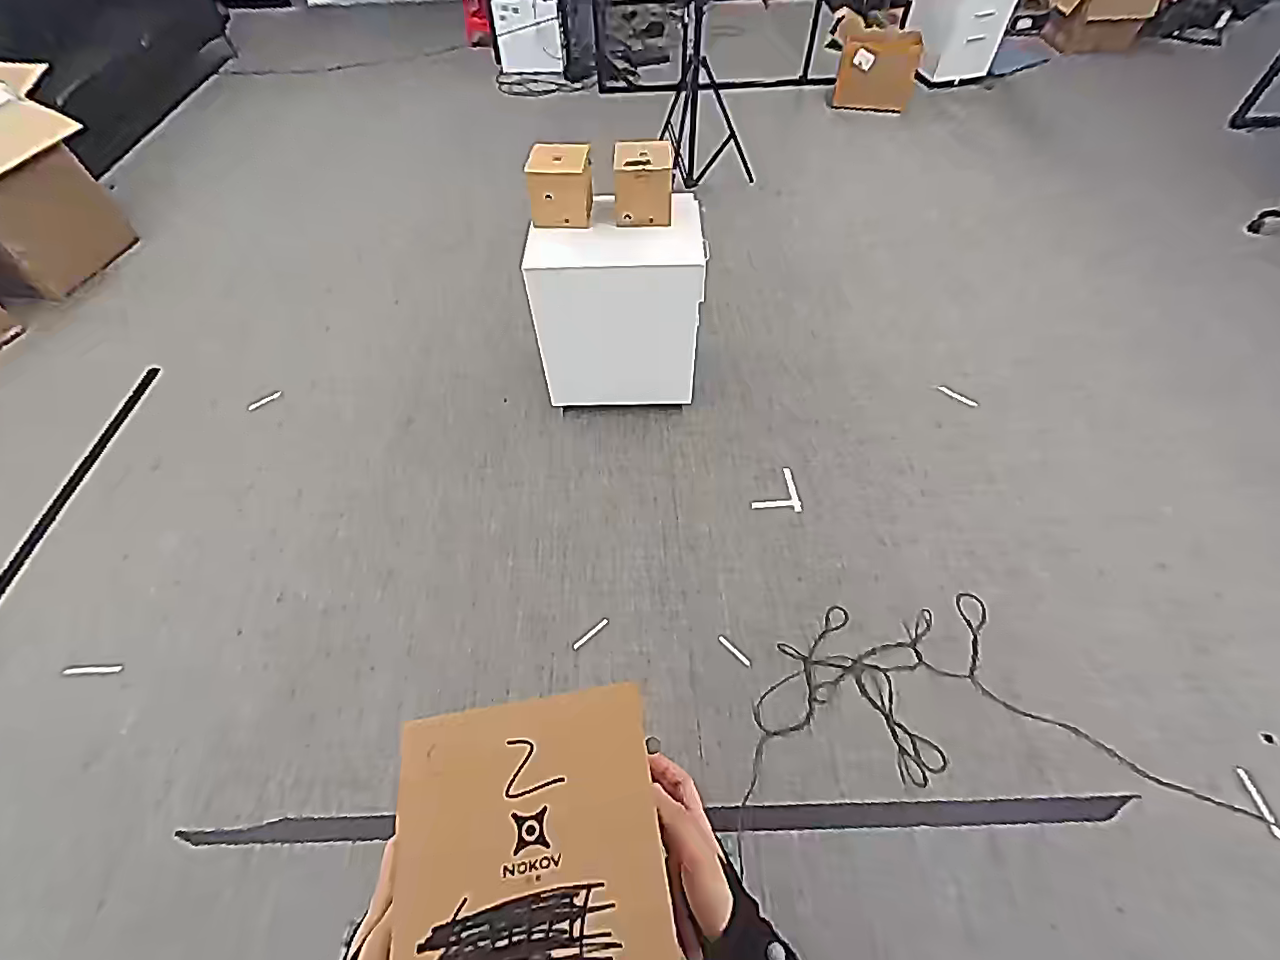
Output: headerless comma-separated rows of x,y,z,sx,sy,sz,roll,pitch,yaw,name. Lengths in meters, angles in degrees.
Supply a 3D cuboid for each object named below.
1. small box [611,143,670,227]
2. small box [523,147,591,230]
0.006,-0.874,1.609,0.168,0.176,0.179,0,54,2,small box
-0.239,-0.866,1.612,0.168,0.176,0.179,2,54,2,small box
